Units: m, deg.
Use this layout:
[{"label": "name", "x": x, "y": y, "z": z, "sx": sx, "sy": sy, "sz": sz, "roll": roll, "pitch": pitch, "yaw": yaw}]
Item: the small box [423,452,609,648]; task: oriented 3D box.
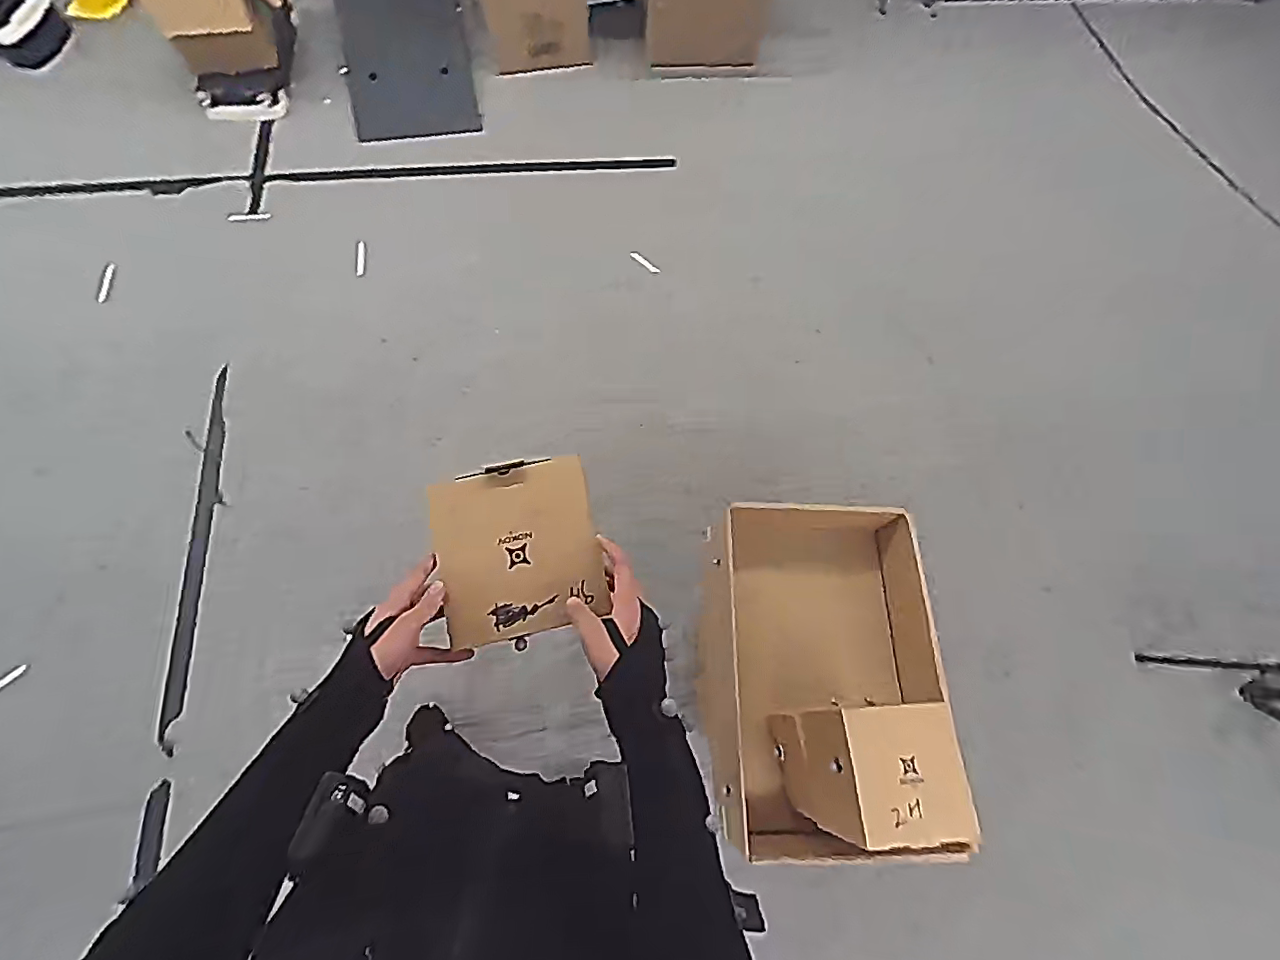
[{"label": "small box", "x": -0.132, "y": 0.086, "z": 0.626, "sx": 0.168, "sy": 0.176, "sz": 0.179, "roll": -12, "pitch": 77, "yaw": -4}]

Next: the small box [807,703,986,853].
[{"label": "small box", "x": 0.367, "y": 0.435, "z": 0.813, "sx": 0.168, "sy": 0.176, "sz": 0.179, "roll": -1, "pitch": 67, "yaw": -5}]
